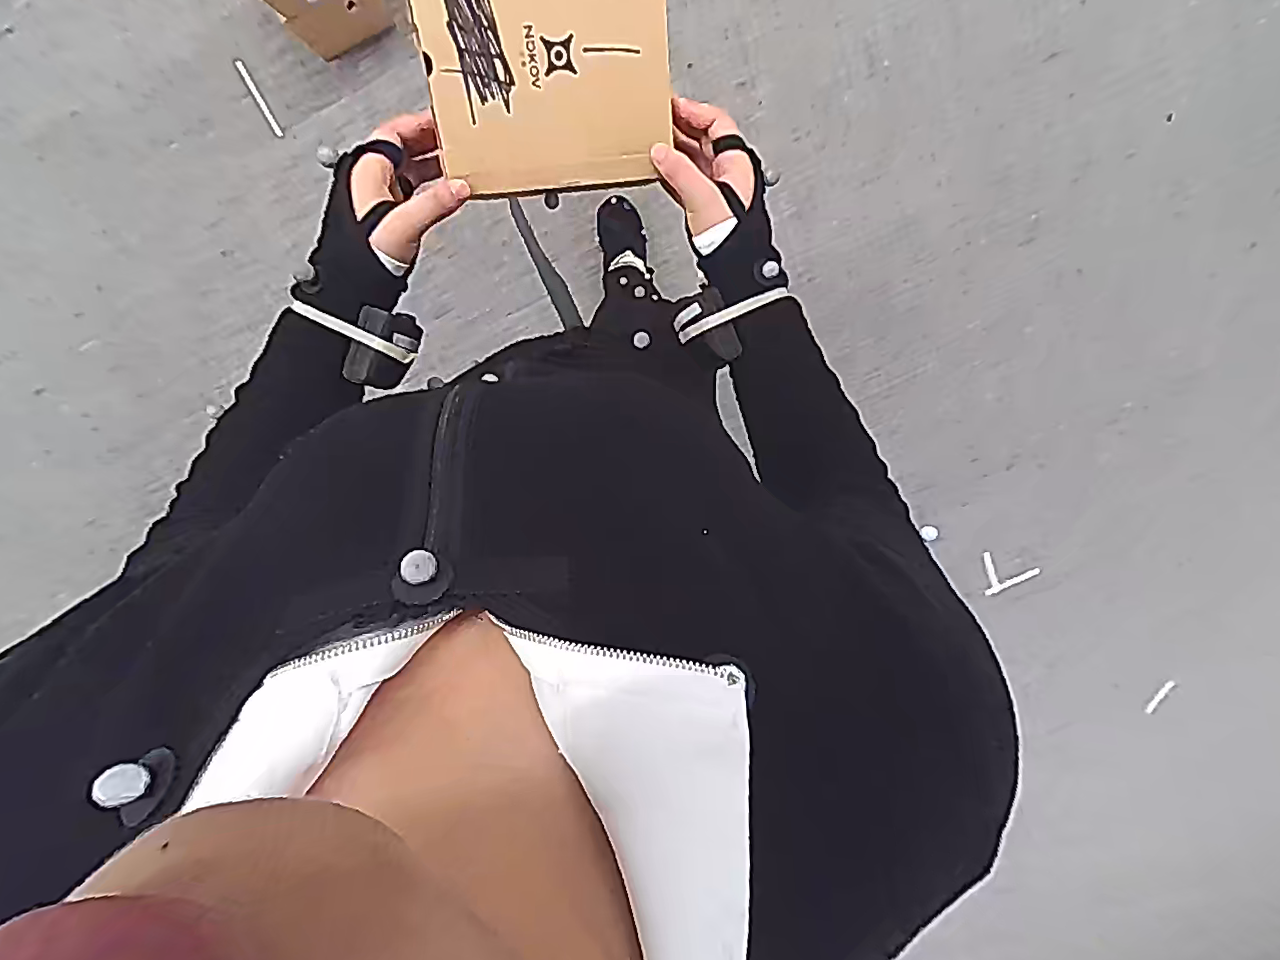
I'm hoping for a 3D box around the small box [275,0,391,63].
[{"bbox_3d":[-0.619,-0.970,1.060,0.179,0.176,0.168,-23,108,4],"label":"small box"}]

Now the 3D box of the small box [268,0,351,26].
[{"bbox_3d":[-0.604,-0.925,0.904,0.168,0.176,0.179,-24,110,6],"label":"small box"}]

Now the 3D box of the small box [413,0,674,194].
[{"bbox_3d":[-0.073,-0.342,0.457,0.179,0.176,0.168,-8,118,-4],"label":"small box"}]
